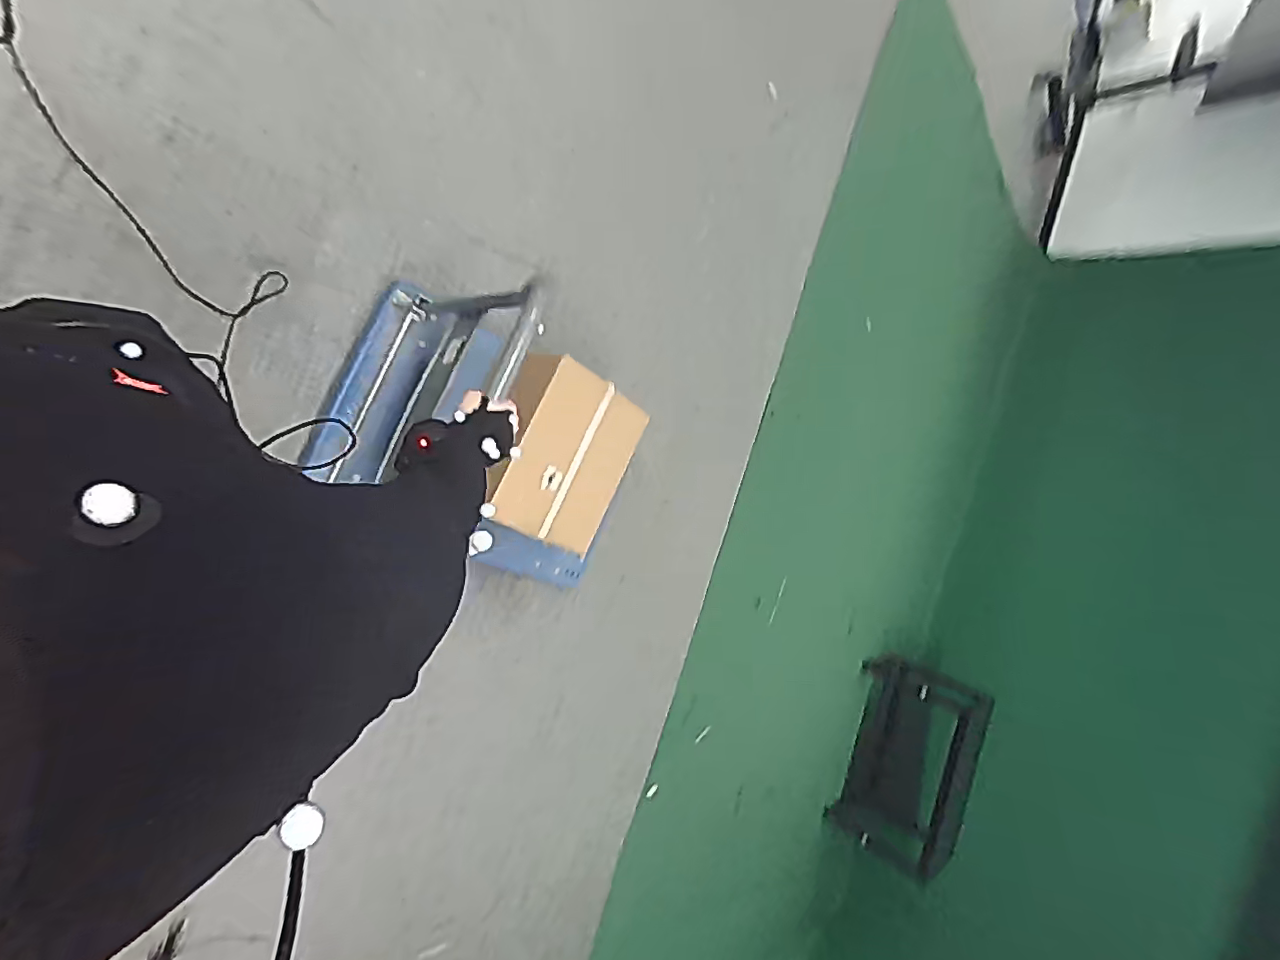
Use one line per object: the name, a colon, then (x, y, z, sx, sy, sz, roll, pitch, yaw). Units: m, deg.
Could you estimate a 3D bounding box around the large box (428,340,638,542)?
large box: (-0.275, -0.108, 1.398, 0.320, 0.320, 0.408, 30, 81, -43)
